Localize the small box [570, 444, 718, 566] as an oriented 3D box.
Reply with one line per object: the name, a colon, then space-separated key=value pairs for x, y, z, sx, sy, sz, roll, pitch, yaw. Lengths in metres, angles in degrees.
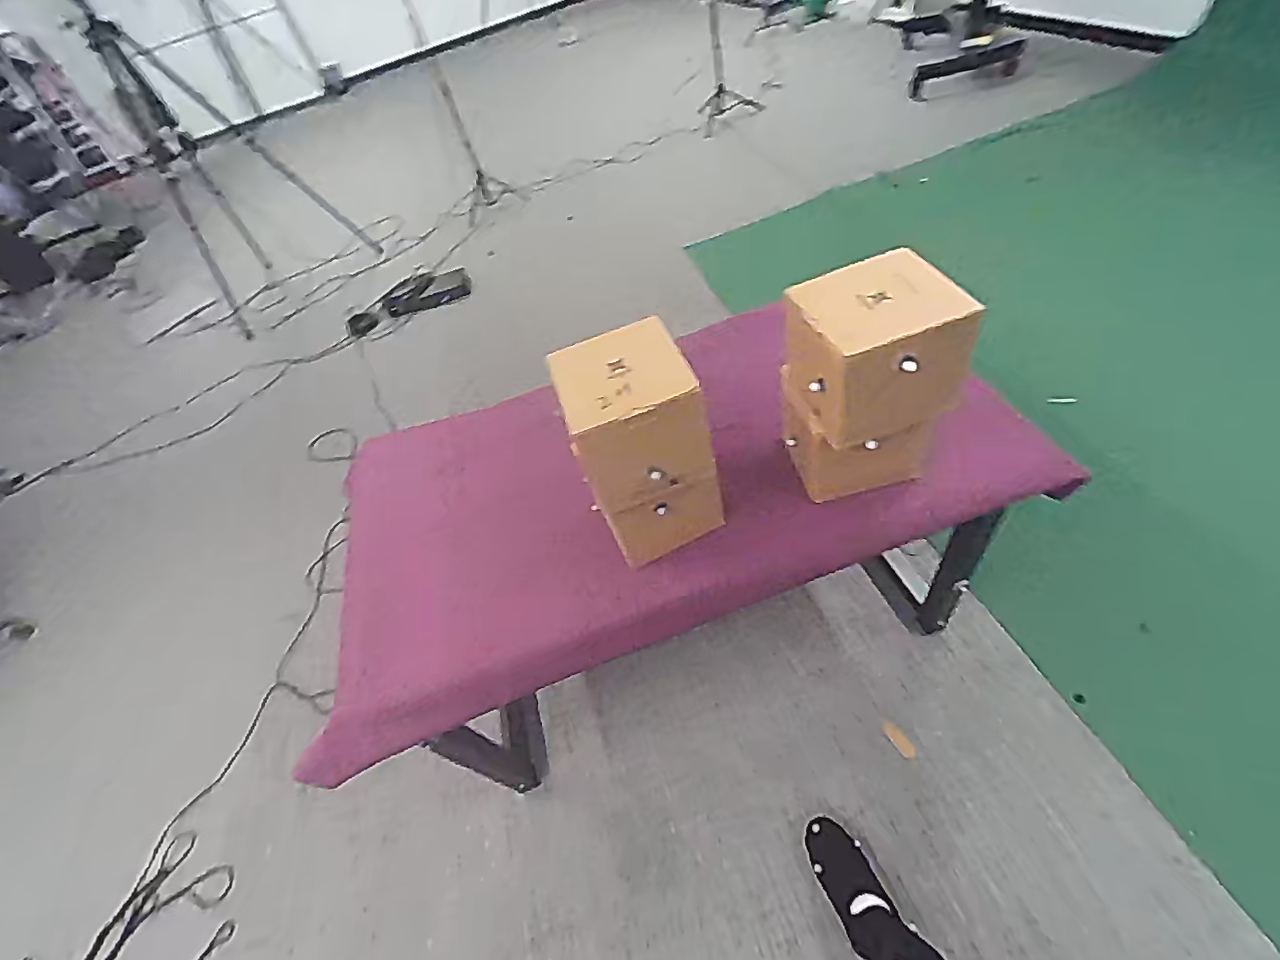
small box: x=0.011 y=0.010 z=0.882 sx=0.179 sy=0.176 sz=0.168 roll=-26 pitch=50 yaw=-7

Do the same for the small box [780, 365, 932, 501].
small box: x=0.336 y=-0.091 z=0.875 sx=0.179 sy=0.176 sz=0.168 roll=-15 pitch=48 yaw=5

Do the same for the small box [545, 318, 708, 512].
small box: x=-0.016 y=-0.088 z=0.752 sx=0.168 sy=0.176 sz=0.179 roll=-21 pitch=50 yaw=-1

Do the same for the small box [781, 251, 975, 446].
small box: x=0.307 y=-0.172 z=0.733 sx=0.179 sy=0.176 sz=0.168 roll=-19 pitch=49 yaw=1
